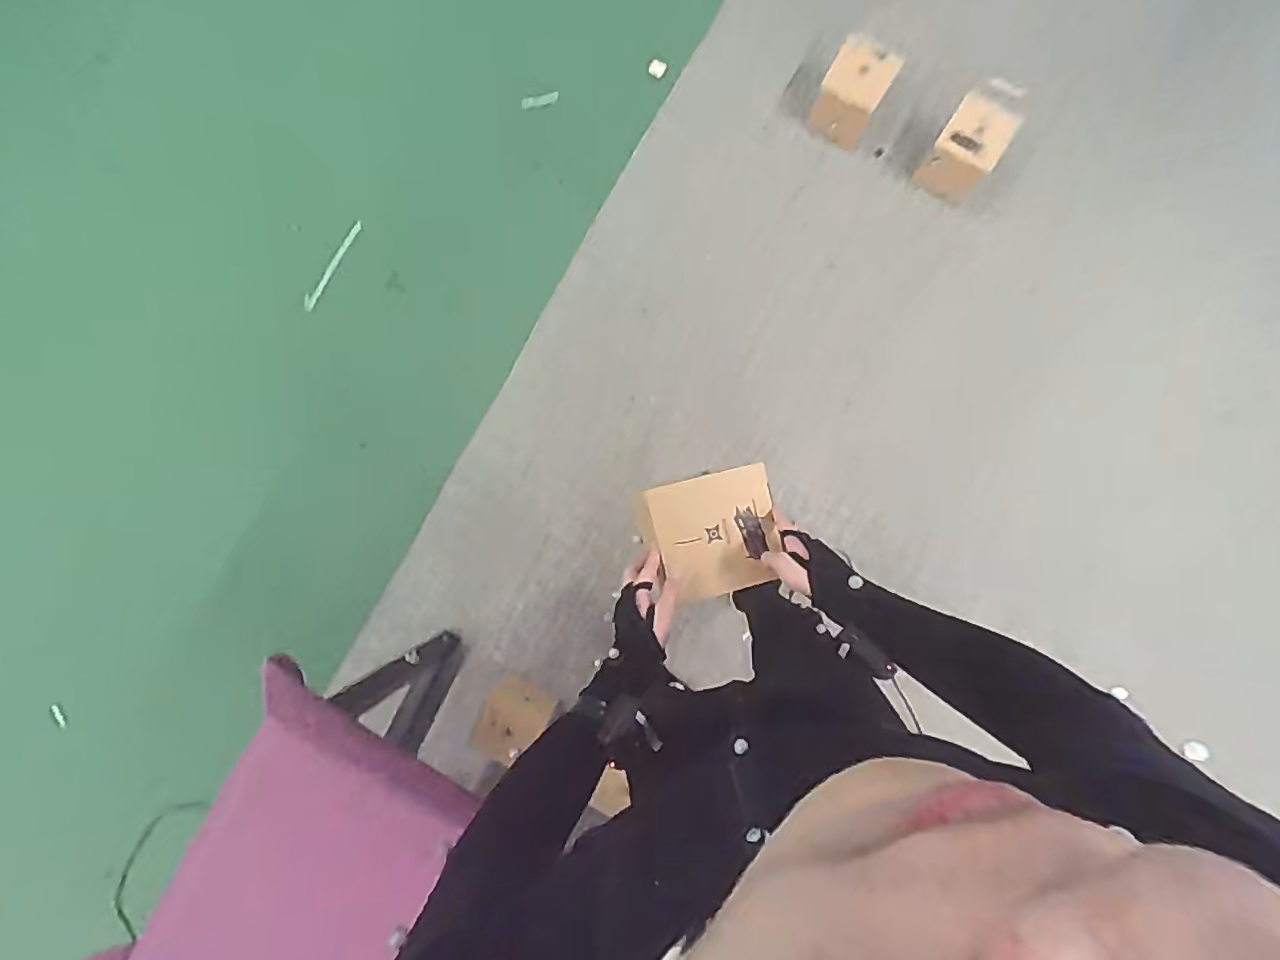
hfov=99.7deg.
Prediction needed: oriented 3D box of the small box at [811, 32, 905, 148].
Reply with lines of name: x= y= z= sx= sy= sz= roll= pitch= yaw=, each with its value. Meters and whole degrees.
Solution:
small box: x=0.605 y=-1.093 z=1.532 sx=0.168 sy=0.176 sz=0.179 roll=31 pitch=89 yaw=4

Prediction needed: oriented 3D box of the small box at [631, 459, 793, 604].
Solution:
small box: x=0.096 y=0.067 z=0.800 sx=0.179 sy=0.176 sz=0.168 roll=-13 pitch=91 yaw=-9

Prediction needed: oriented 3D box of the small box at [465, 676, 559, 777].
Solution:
small box: x=-0.342 y=0.665 z=1.485 sx=0.179 sy=0.176 sz=0.168 roll=25 pitch=88 yaw=4

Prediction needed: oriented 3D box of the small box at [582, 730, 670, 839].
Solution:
small box: x=-0.032 y=0.808 z=1.462 sx=0.179 sy=0.176 sz=0.168 roll=29 pitch=90 yaw=4
